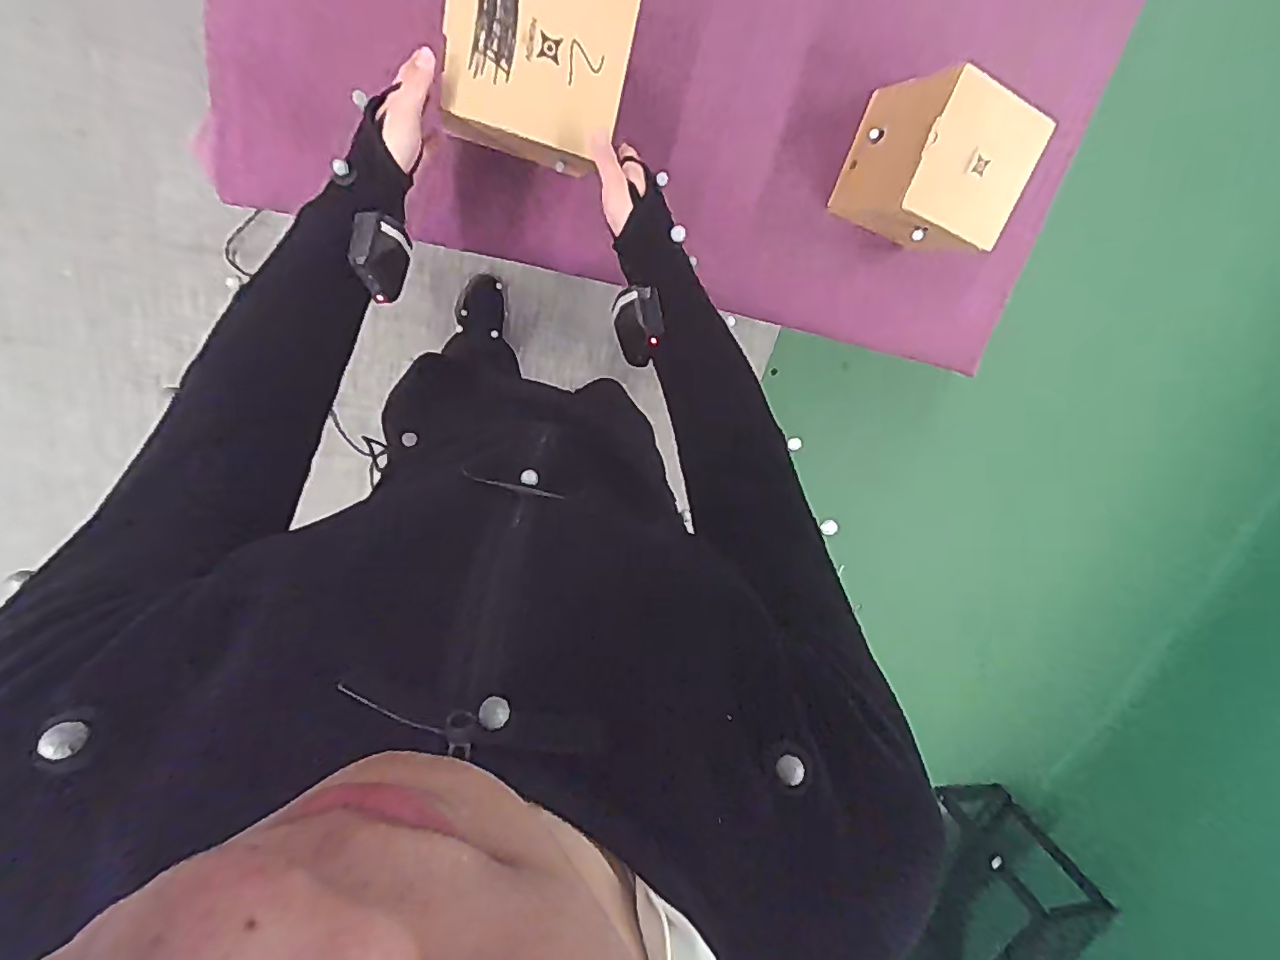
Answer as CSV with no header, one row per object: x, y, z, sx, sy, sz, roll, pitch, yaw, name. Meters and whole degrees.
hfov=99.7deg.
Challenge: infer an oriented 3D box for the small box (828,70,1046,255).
0.412,-0.442,0.776,0.179,0.176,0.168,12,111,-22,small box
